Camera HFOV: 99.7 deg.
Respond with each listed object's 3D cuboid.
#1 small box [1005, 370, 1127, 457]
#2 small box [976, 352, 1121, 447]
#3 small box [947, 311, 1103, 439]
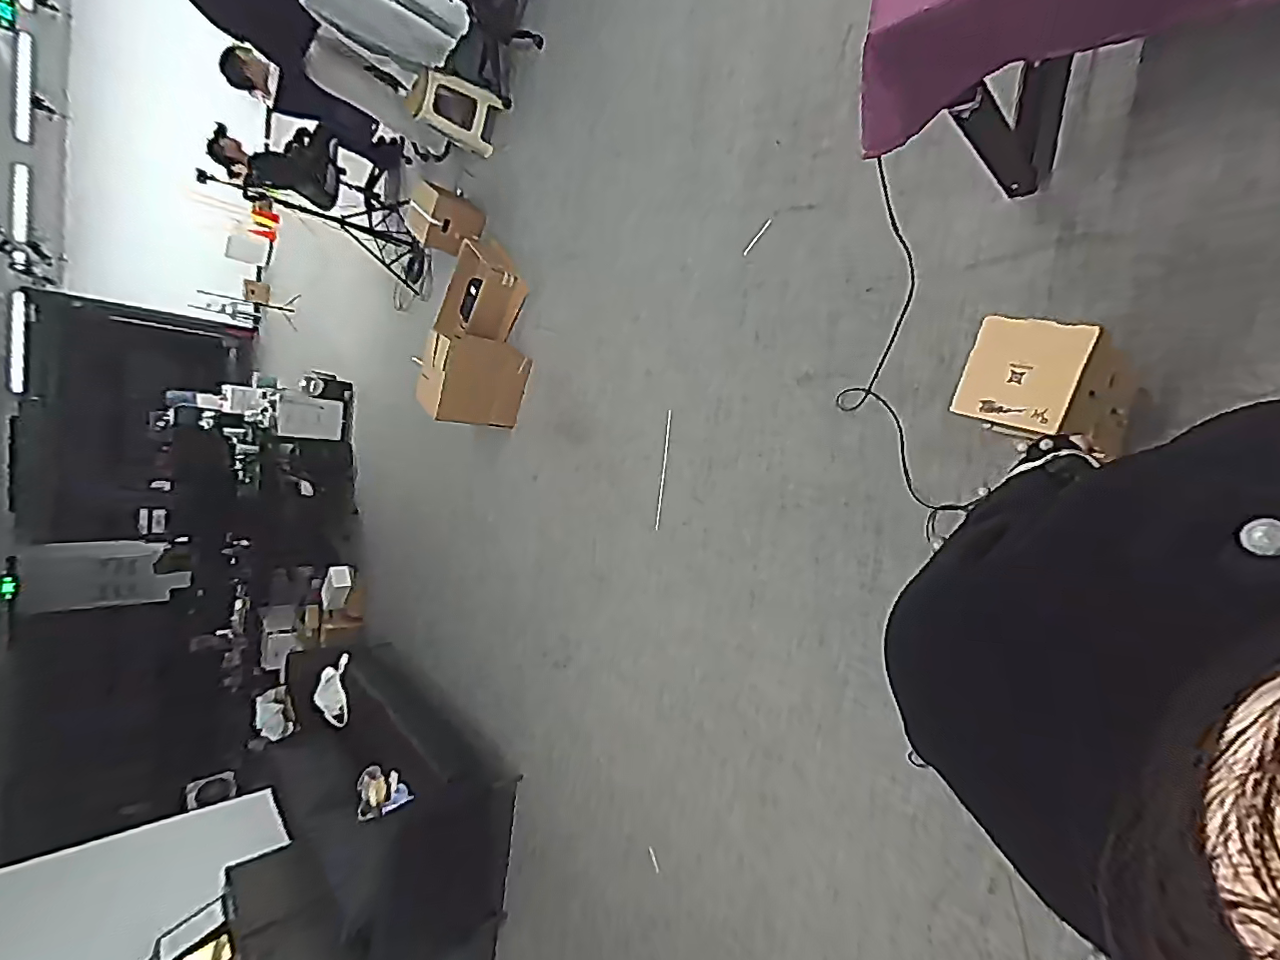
[{"bbox_3d":[0.931,-0.151,1.179,0.168,0.176,0.179,17,100,45],"label":"small box"},{"bbox_3d":[0.808,-0.164,1.070,0.179,0.176,0.168,22,105,44],"label":"small box"},{"bbox_3d":[0.686,-0.183,0.961,0.168,0.176,0.179,27,107,44],"label":"small box"}]
